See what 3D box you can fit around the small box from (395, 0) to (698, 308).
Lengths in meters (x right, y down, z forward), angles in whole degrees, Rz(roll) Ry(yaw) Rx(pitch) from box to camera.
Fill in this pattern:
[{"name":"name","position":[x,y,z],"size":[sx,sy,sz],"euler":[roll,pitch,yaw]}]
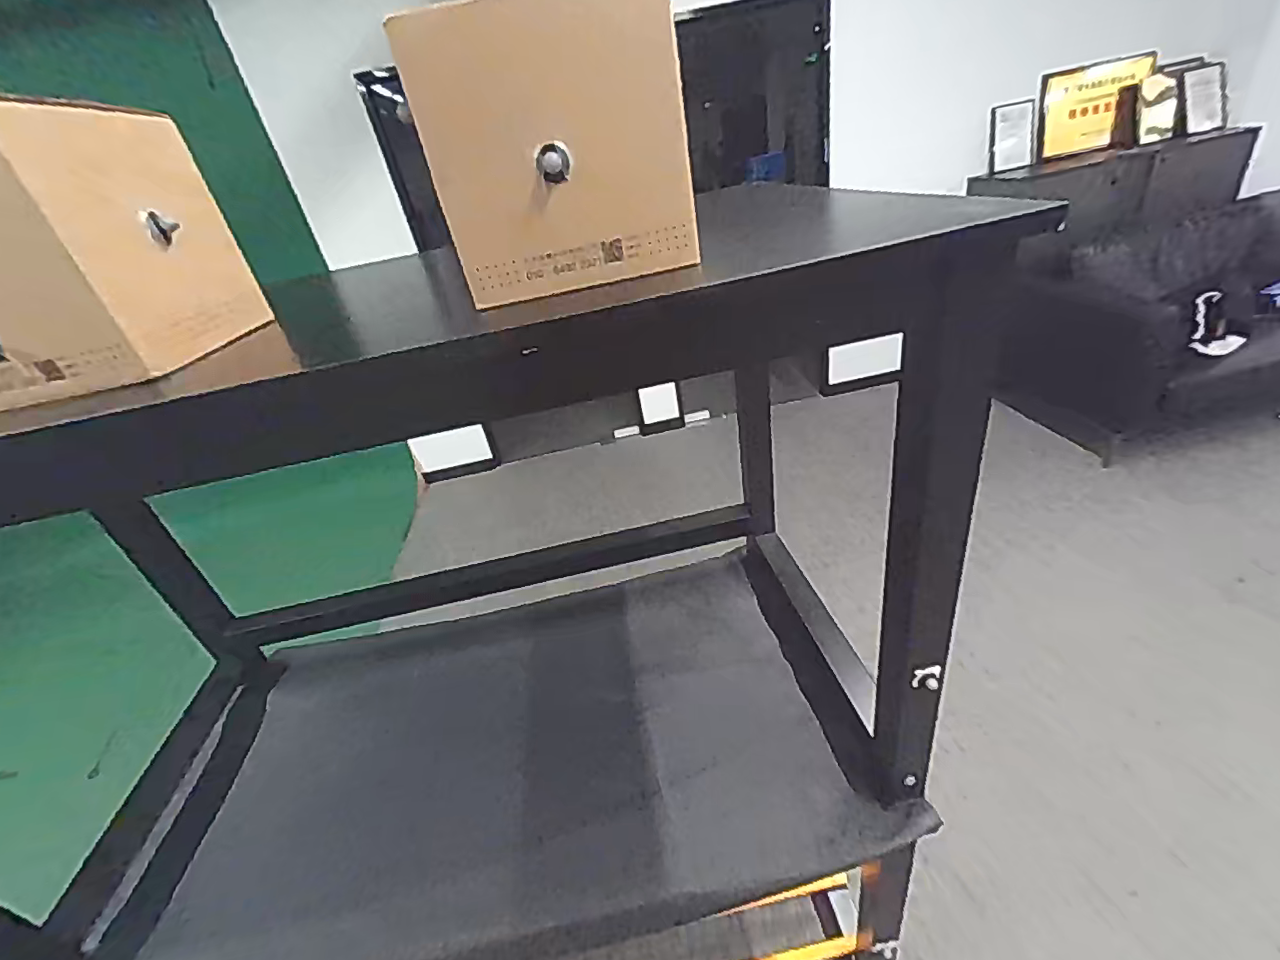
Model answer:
[{"name":"small box","position":[-0.056,-0.242,0.419],"size":[0.168,0.176,0.179],"euler":[-11,31,-1]}]
